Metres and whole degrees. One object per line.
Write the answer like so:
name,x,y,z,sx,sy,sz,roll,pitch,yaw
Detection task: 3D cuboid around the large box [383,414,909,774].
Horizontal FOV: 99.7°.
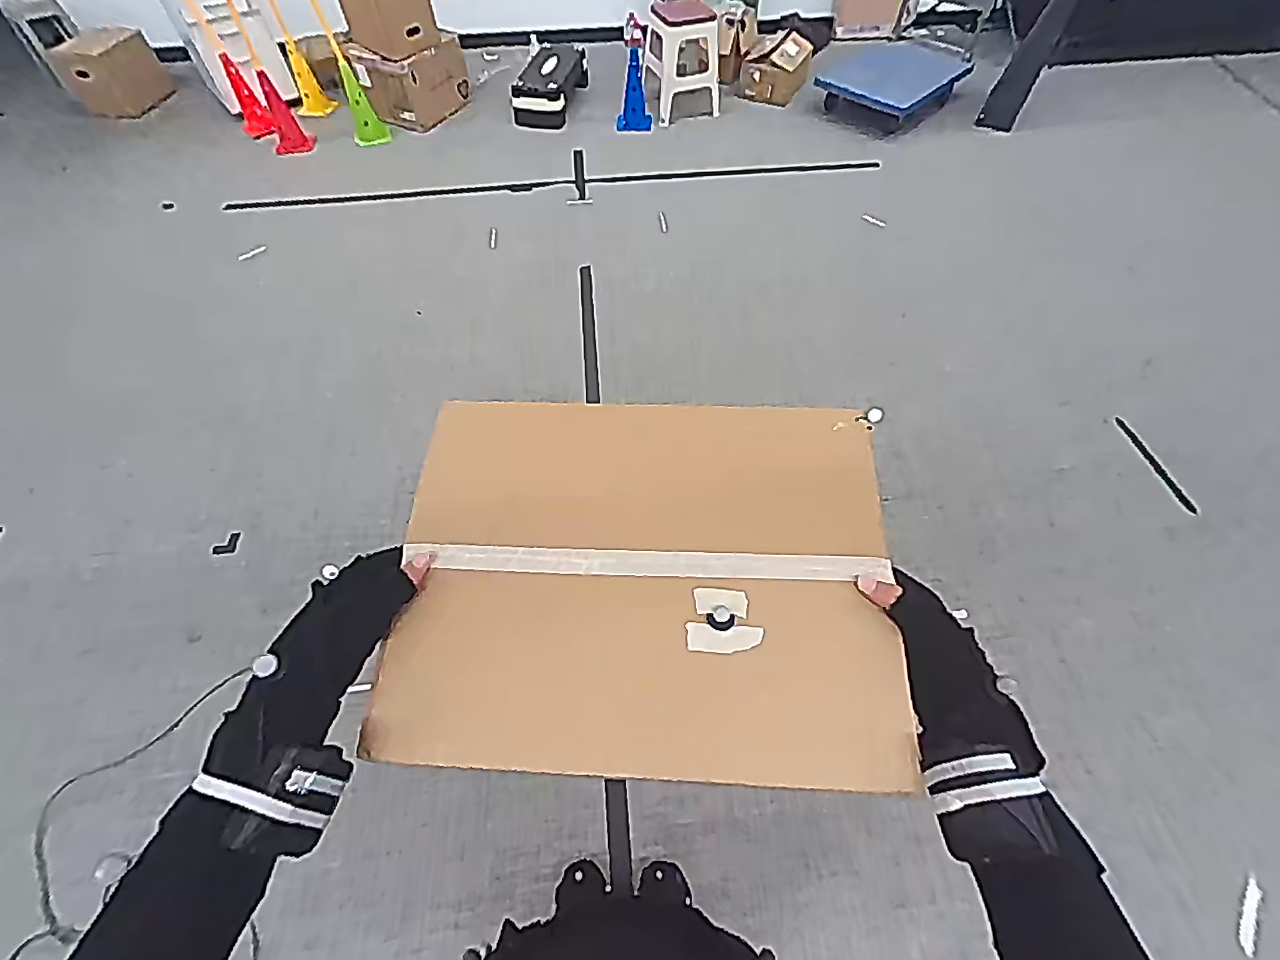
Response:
large box,0.009,0.140,0.601,0.408,0.320,0.320,2,64,3
